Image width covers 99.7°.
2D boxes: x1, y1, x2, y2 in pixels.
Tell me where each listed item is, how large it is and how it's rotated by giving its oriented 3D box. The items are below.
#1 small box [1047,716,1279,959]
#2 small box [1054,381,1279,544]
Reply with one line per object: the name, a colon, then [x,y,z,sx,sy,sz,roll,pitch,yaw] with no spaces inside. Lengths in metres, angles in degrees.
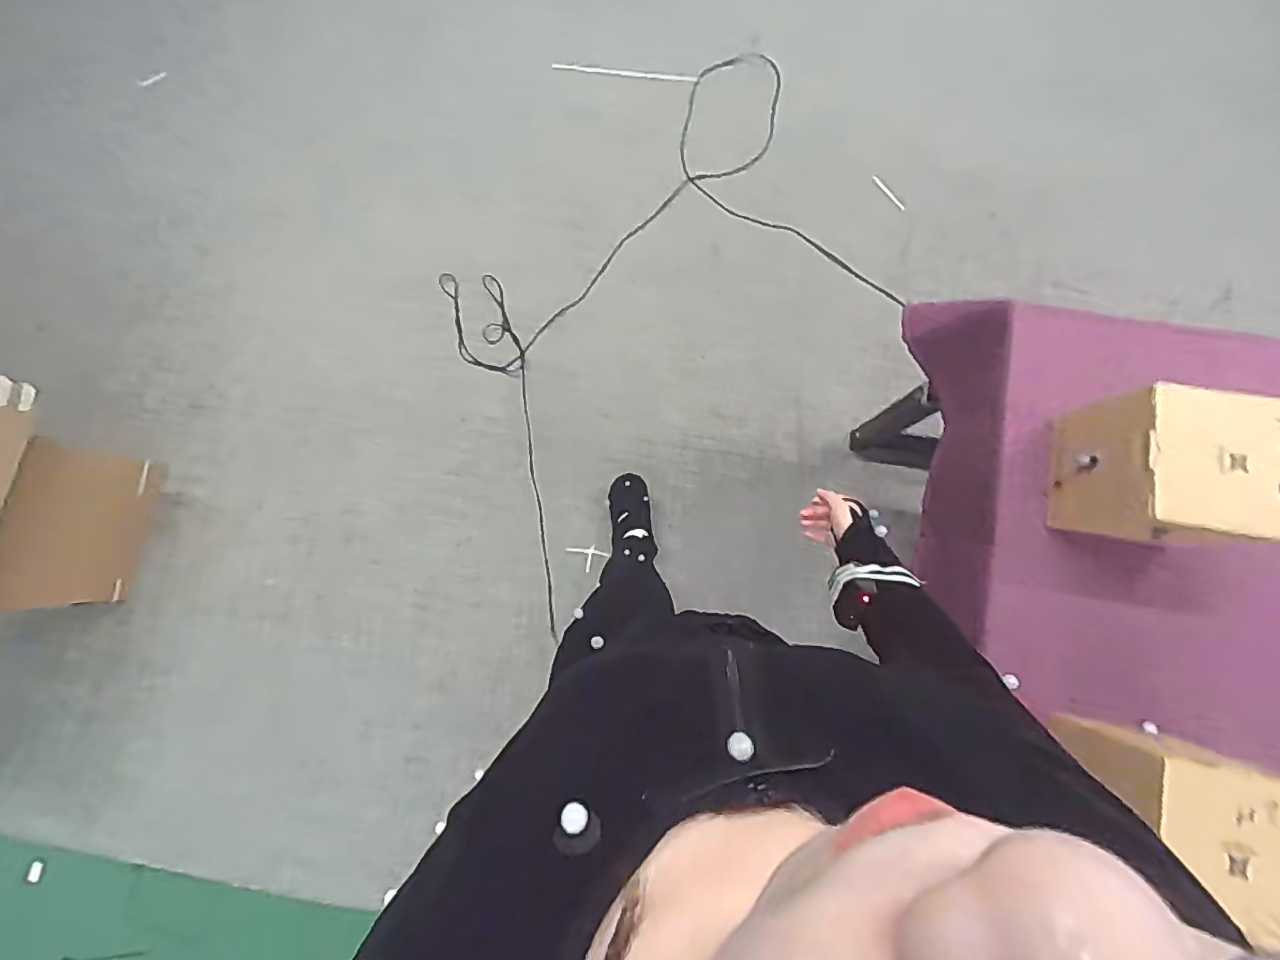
small box: [0.619,0.403,0.631,0.168,0.176,0.179,11,82,3]
small box: [0.676,-0.012,0.692,0.179,0.176,0.168,9,82,4]
